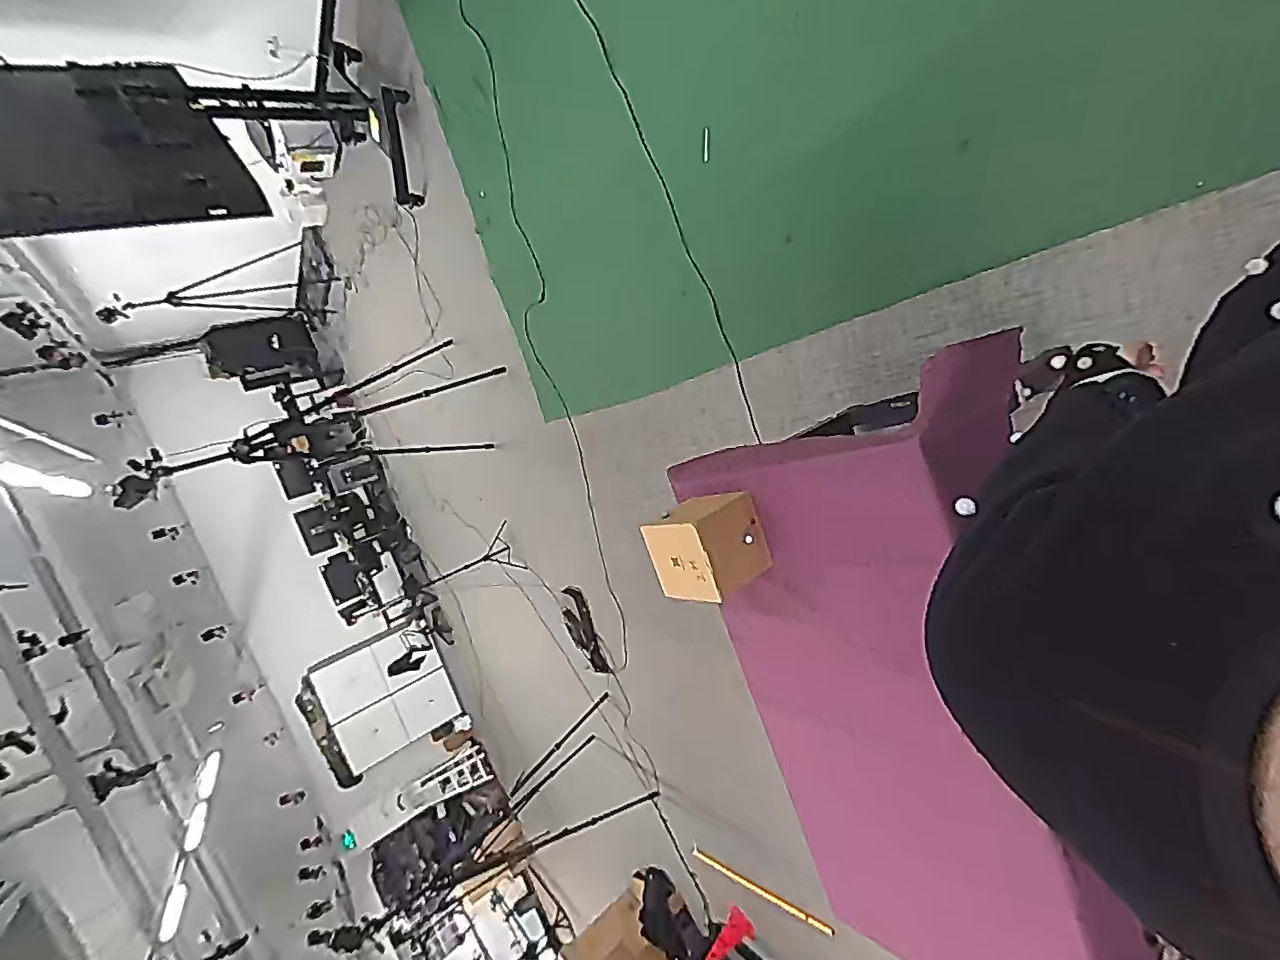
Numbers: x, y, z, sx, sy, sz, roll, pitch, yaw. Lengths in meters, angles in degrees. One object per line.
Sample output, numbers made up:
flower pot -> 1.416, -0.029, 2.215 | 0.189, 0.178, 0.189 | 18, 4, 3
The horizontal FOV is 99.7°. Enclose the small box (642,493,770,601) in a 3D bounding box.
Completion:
small box -> 0.138, 0.134, 1.129 | 0.179, 0.176, 0.168 | -9, 103, 53
